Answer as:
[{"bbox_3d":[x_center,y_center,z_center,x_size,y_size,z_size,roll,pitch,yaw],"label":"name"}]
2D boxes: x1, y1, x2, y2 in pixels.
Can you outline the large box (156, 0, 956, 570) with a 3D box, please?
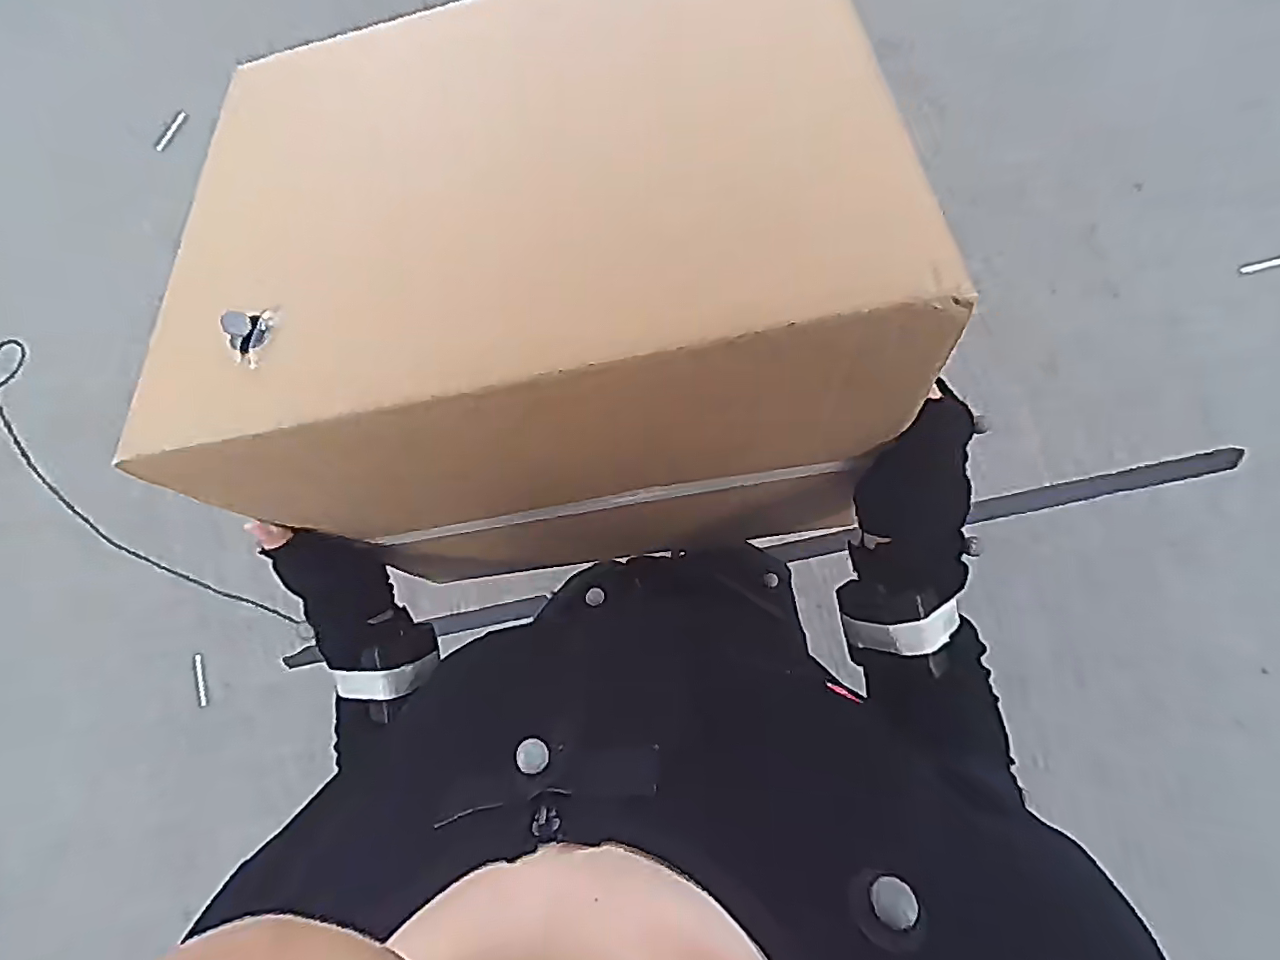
[{"bbox_3d":[-0.048,-0.135,0.444,0.408,0.320,0.320,-9,68,8],"label":"large box"}]
